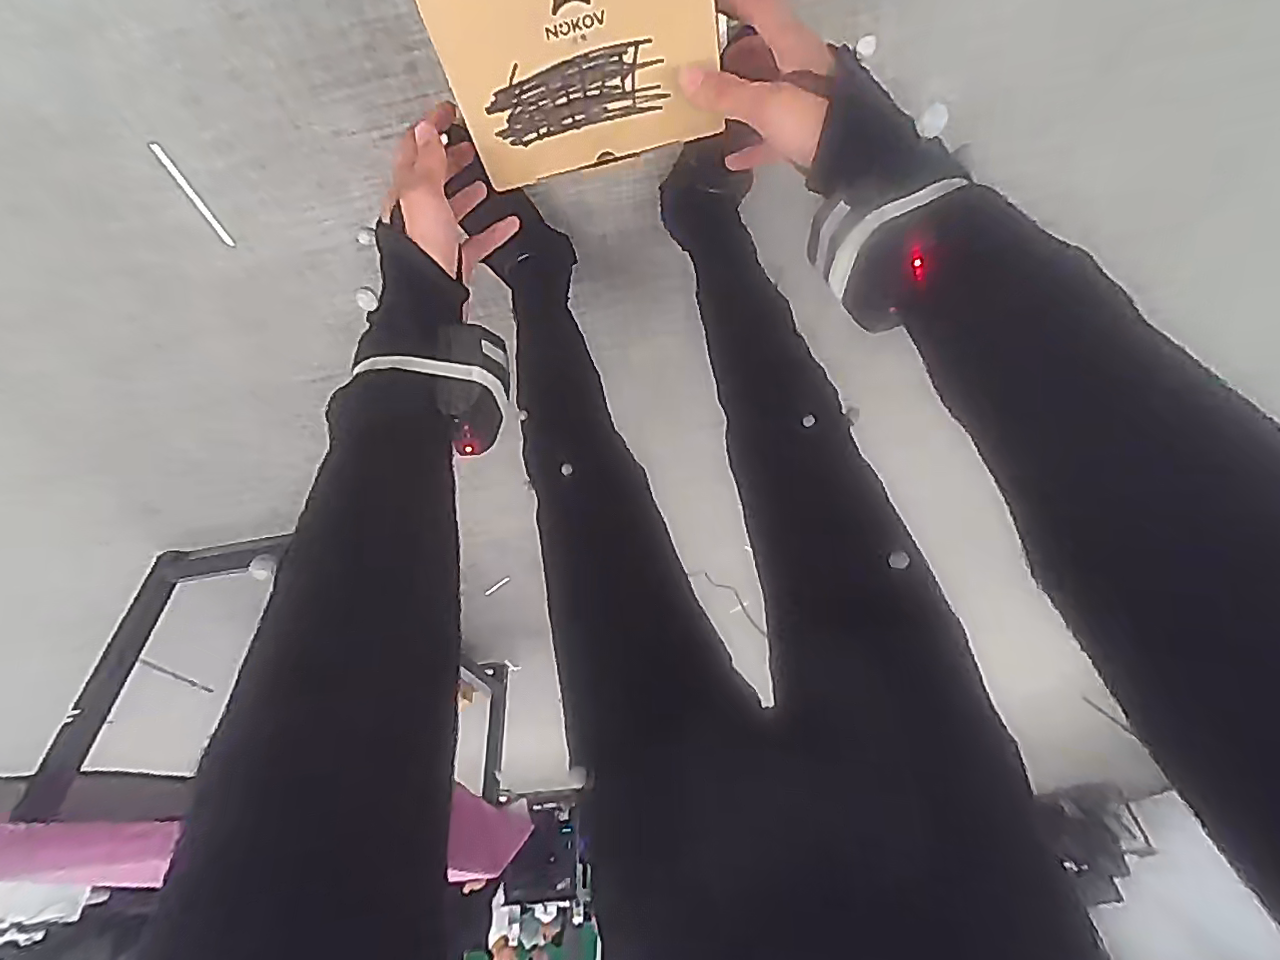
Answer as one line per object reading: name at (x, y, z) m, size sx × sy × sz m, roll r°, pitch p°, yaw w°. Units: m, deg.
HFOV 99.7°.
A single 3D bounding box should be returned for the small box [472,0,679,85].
small box at (-0.062, -0.465, 0.446) m, size 0.168 × 0.176 × 0.179 m, roll -8°, pitch 143°, yaw 1°
